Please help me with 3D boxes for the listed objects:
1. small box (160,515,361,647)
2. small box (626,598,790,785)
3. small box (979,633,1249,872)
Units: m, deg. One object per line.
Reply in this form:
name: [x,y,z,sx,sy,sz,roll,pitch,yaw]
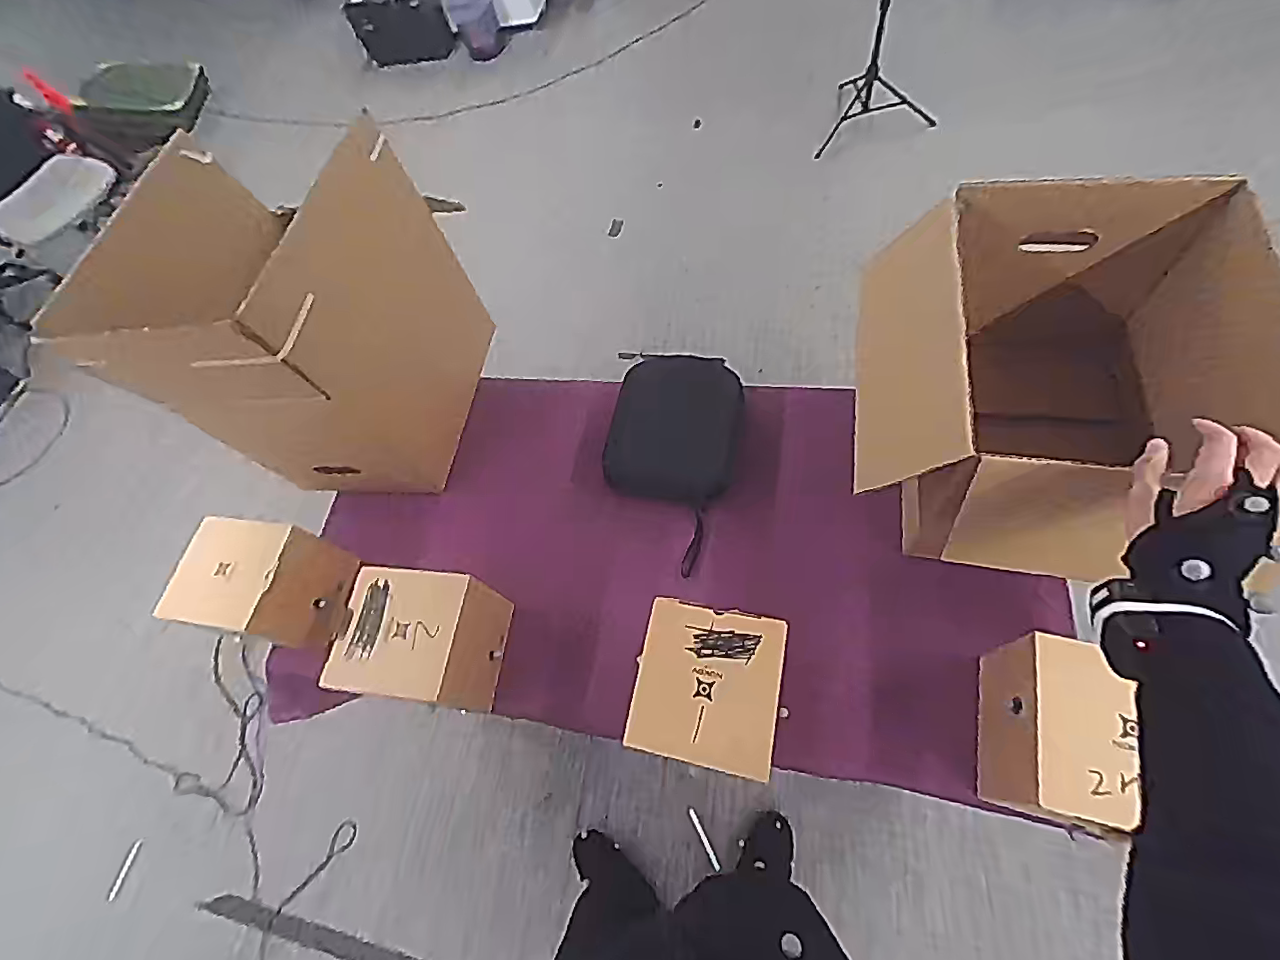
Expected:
small box: [-0.609,0.170,0.892,0.179,0.176,0.168,4,64,12]
small box: [0.094,0.271,0.697,0.168,0.176,0.179,8,66,16]
small box: [0.498,0.292,0.601,0.168,0.176,0.179,10,66,17]
